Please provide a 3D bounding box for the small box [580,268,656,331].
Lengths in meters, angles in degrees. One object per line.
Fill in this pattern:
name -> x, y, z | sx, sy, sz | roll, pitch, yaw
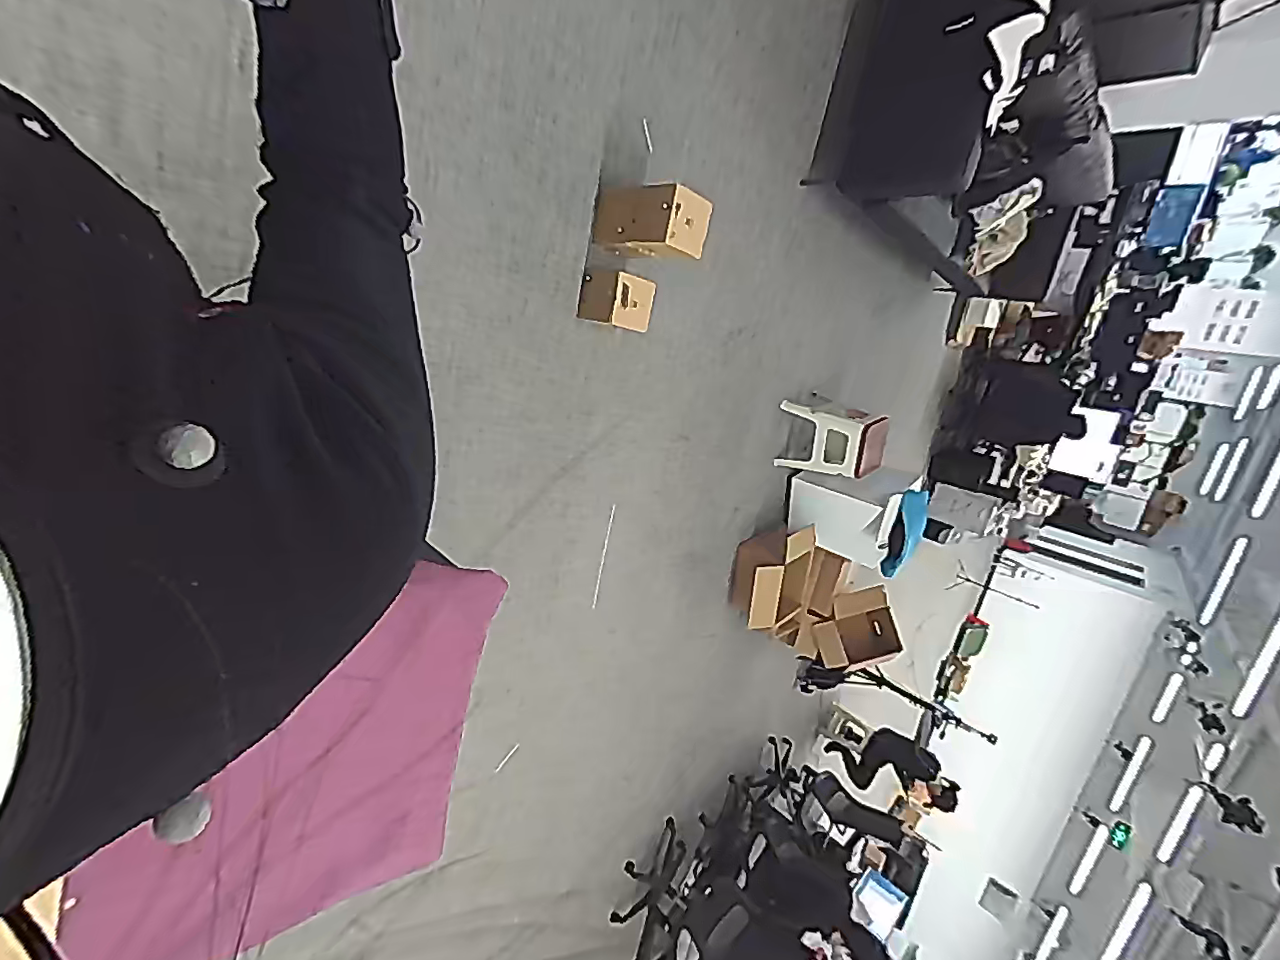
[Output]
small box -> -0.077, -0.607, 1.814 | 0.179, 0.176, 0.168 | -3, 110, -48

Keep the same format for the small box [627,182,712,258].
small box -> 0.089, -0.794, 1.659 | 0.179, 0.176, 0.168 | -2, 108, -48

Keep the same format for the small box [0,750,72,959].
small box -> -0.671, 0.402, 0.515 | 0.168, 0.176, 0.179 | 7, 102, -49
